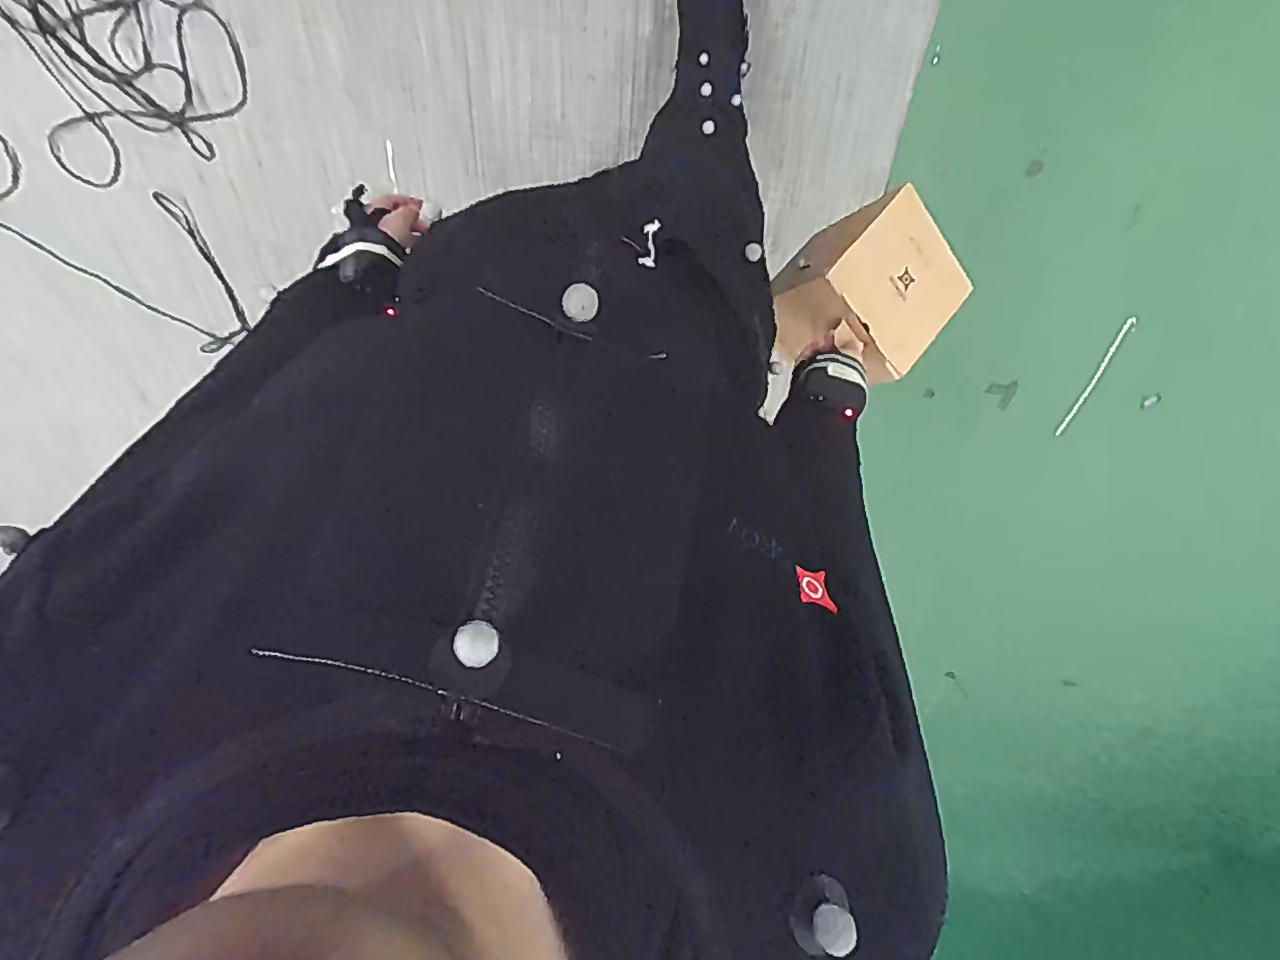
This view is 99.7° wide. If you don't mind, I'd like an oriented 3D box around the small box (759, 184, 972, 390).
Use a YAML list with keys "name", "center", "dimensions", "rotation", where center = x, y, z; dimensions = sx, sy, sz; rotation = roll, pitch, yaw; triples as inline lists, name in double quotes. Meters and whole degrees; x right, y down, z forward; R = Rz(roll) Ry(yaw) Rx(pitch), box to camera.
- name: "small box"
  center: [0.285, -0.239, 0.718]
  dimensions: [0.168, 0.176, 0.179]
  rotation: [46, 75, -18]
